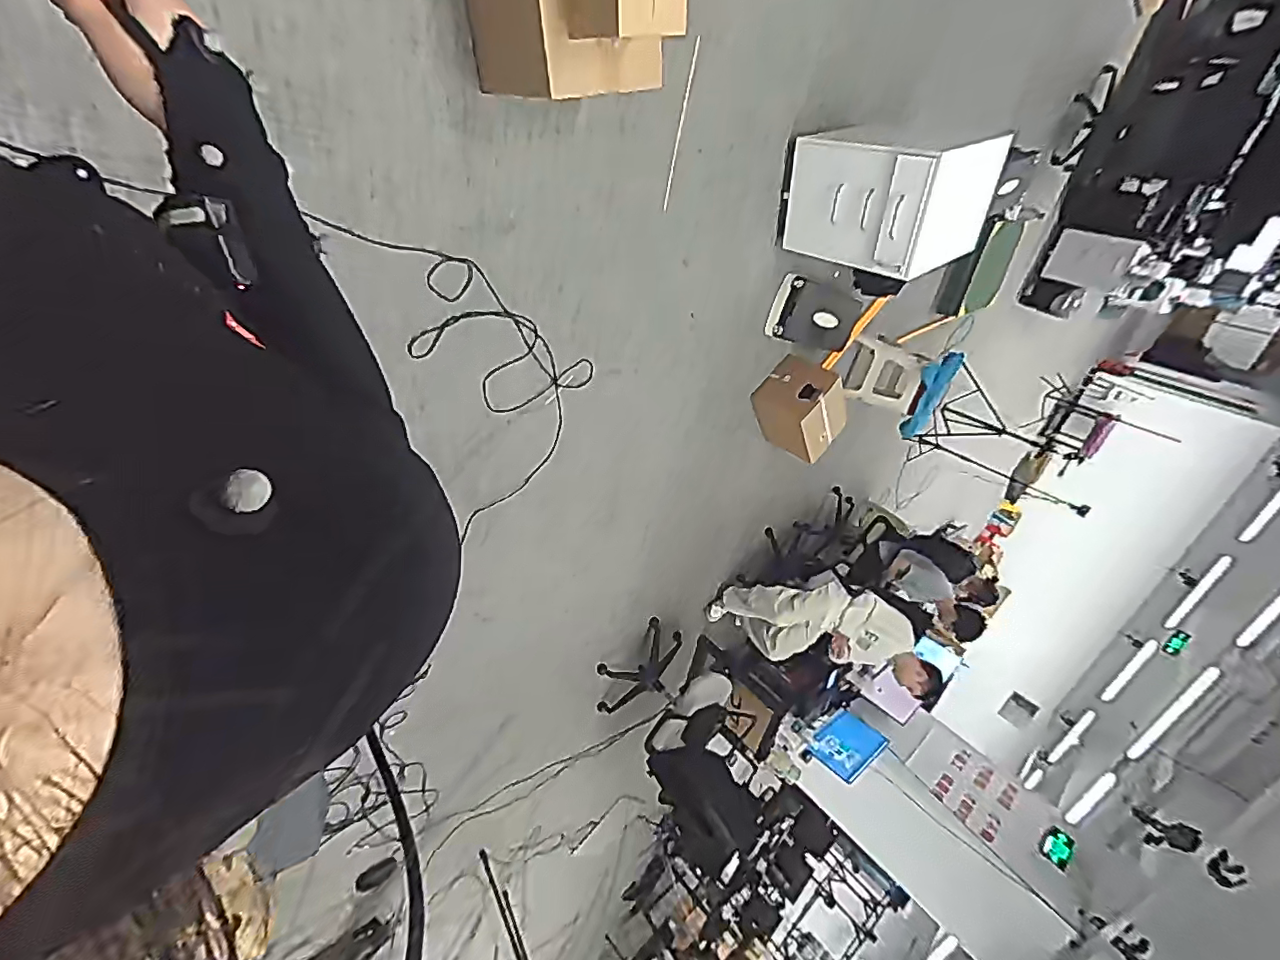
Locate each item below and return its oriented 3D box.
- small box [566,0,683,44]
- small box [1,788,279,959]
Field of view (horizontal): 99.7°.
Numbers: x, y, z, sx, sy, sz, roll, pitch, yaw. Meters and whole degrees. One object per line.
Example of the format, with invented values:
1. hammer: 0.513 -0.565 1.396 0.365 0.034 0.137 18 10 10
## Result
1. small box: -0.034 -0.948 1.028 0.168 0.176 0.179 -28 135 -28
2. small box: -0.547 0.492 0.601 0.179 0.176 0.168 -27 135 -33
